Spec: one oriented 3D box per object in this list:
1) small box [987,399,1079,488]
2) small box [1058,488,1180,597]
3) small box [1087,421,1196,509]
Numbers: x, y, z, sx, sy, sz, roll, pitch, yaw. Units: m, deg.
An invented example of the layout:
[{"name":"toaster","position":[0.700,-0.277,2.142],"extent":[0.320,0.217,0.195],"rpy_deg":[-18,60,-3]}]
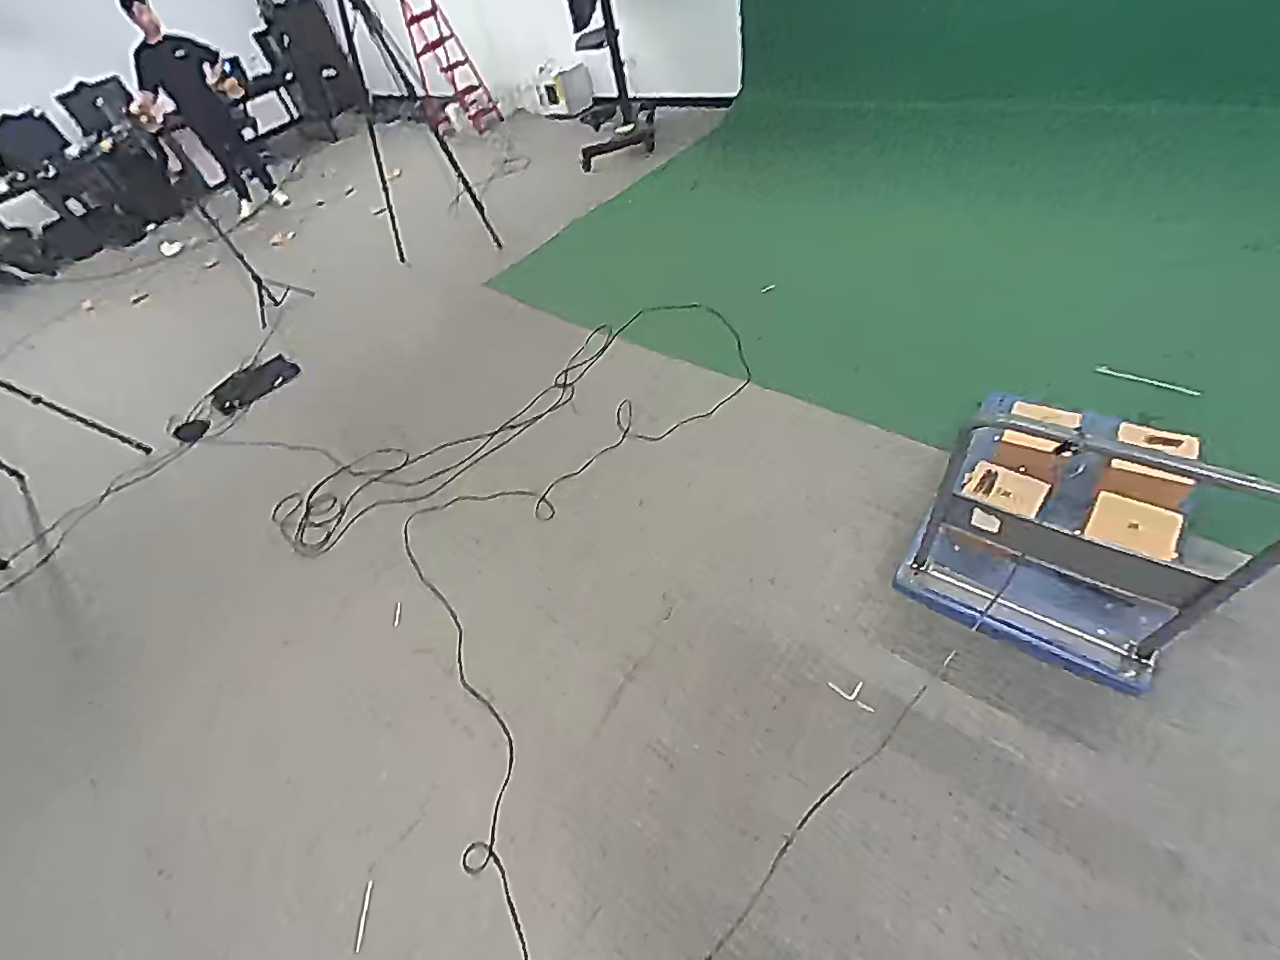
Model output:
[{"name":"small box","position":[1.150,-0.105,1.594],"extent":[0.168,0.176,0.179],"rpy_deg":[22,59,29]},{"name":"small box","position":[1.195,0.159,1.360],"extent":[0.168,0.176,0.179],"rpy_deg":[26,63,32]},{"name":"small box","position":[1.356,-0.027,1.470],"extent":[0.168,0.176,0.179],"rpy_deg":[21,60,30]}]
